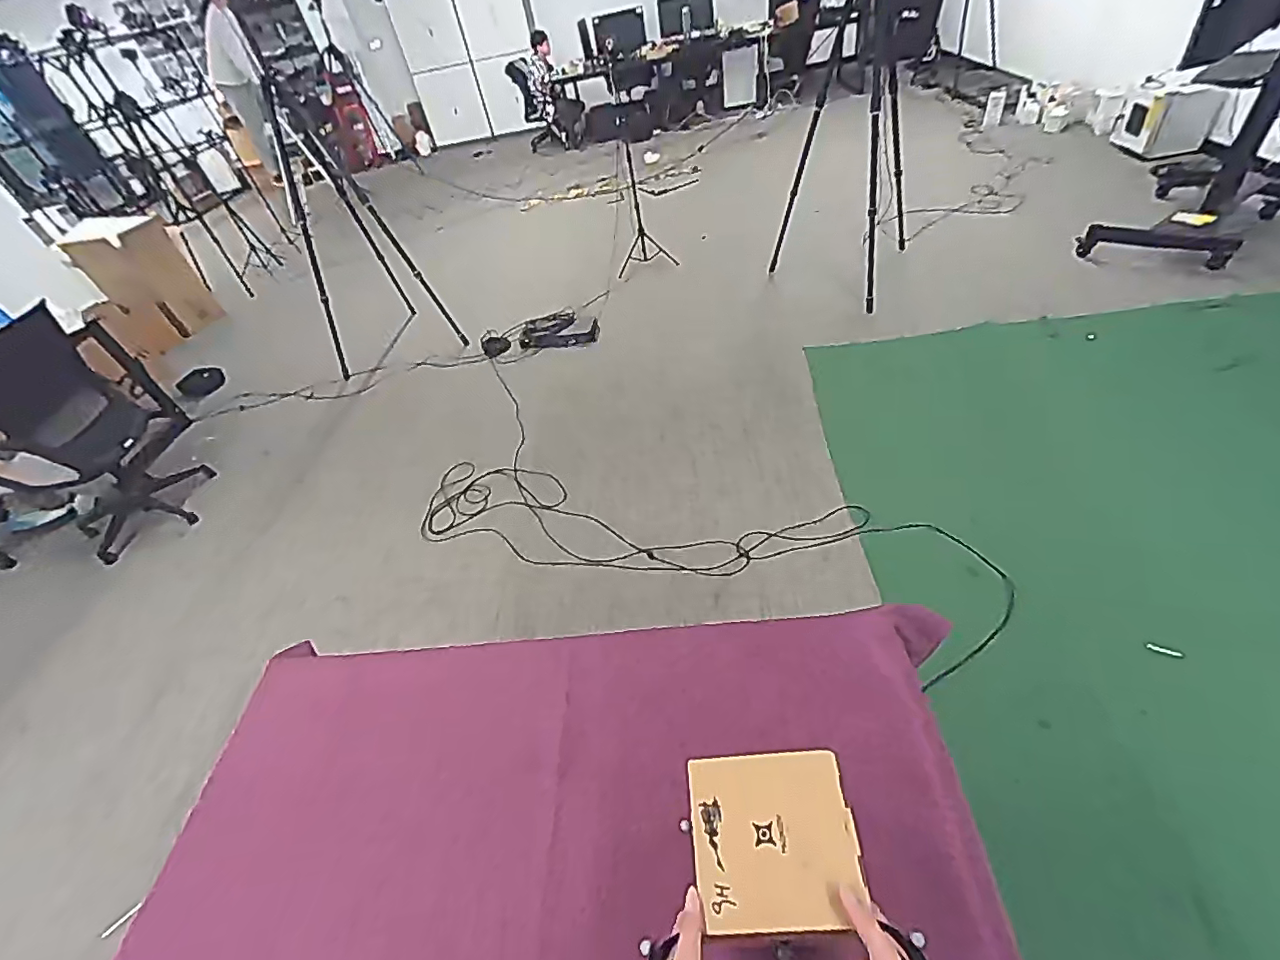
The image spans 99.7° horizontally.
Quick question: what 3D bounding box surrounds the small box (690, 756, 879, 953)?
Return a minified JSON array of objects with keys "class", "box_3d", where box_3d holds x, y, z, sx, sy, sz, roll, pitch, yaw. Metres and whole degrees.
[{"class":"small box","box_3d":[0.154,0.441,0.637,0.179,0.176,0.168,-6,45,5]}]
